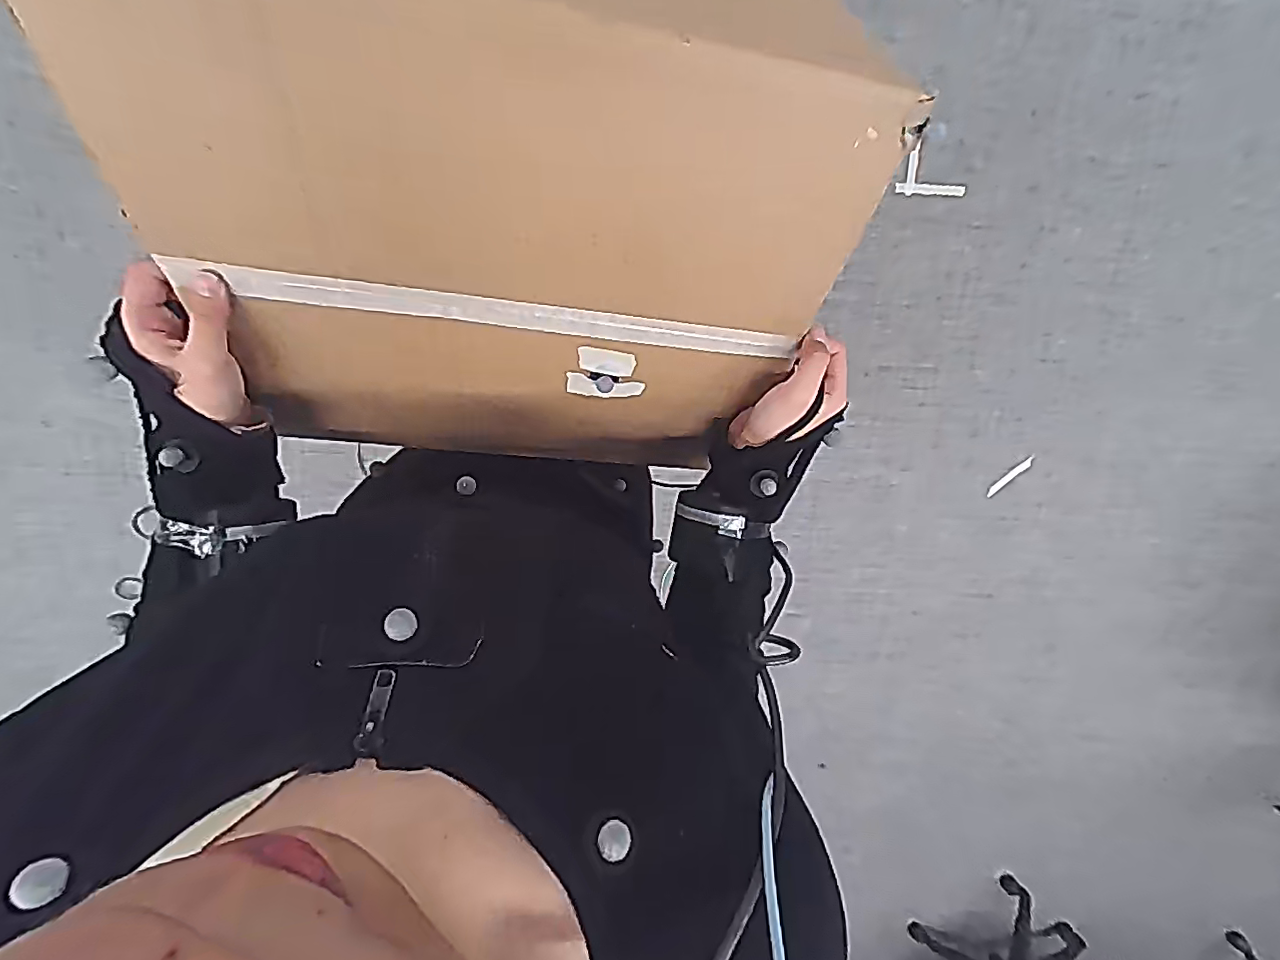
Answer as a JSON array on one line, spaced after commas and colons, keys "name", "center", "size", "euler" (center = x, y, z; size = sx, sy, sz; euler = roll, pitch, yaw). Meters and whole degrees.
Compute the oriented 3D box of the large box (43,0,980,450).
[{"name": "large box", "center": [-0.074, -0.246, 0.416], "size": [0.408, 0.320, 0.320], "euler": [3, 145, -11]}]
